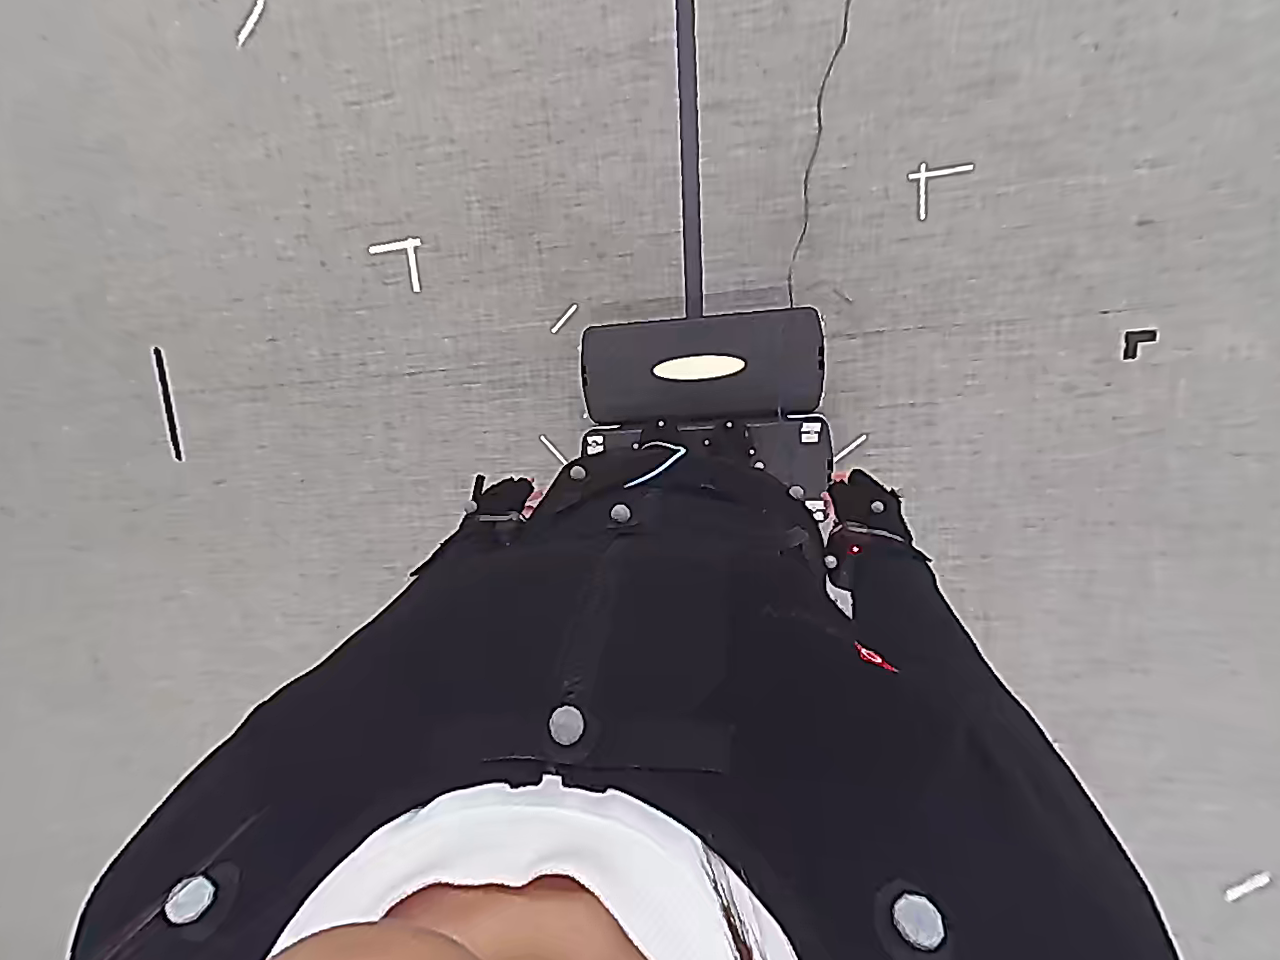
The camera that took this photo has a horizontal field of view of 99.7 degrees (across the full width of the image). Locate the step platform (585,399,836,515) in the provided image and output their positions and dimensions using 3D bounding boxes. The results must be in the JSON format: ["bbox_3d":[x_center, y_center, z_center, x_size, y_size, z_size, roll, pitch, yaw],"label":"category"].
[{"bbox_3d":[0.188,-0.060,1.513,0.684,0.204,0.286,-3,97,11],"label":"step platform"}]
